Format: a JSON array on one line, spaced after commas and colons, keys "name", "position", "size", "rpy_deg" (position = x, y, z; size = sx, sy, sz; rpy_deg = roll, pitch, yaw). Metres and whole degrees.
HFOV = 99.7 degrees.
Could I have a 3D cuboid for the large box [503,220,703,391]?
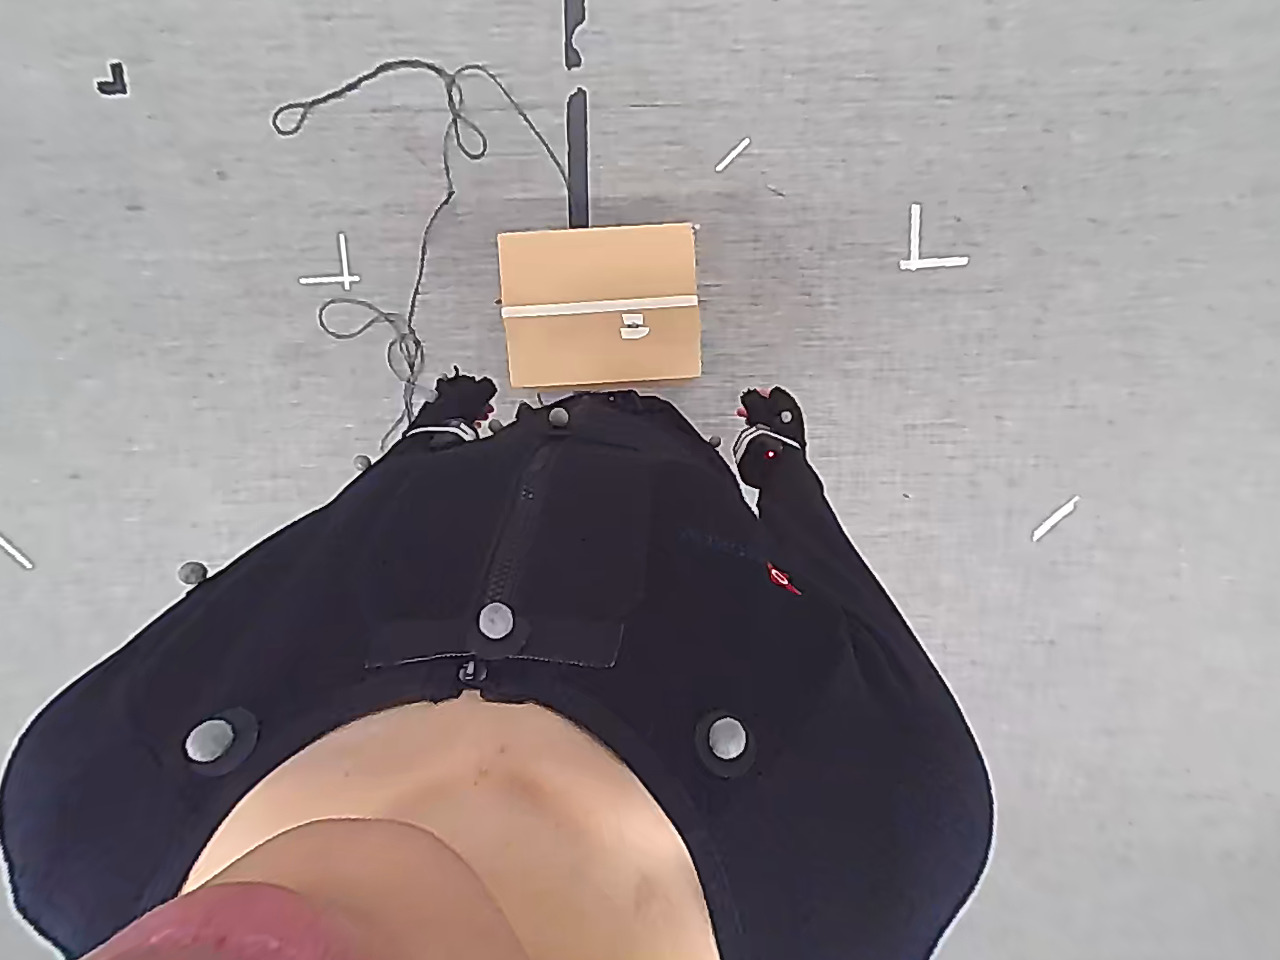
[{"name": "large box", "position": [-0.078, -0.387, 1.278], "size": [0.408, 0.320, 0.320], "rpy_deg": [-4, 98, 0]}]
